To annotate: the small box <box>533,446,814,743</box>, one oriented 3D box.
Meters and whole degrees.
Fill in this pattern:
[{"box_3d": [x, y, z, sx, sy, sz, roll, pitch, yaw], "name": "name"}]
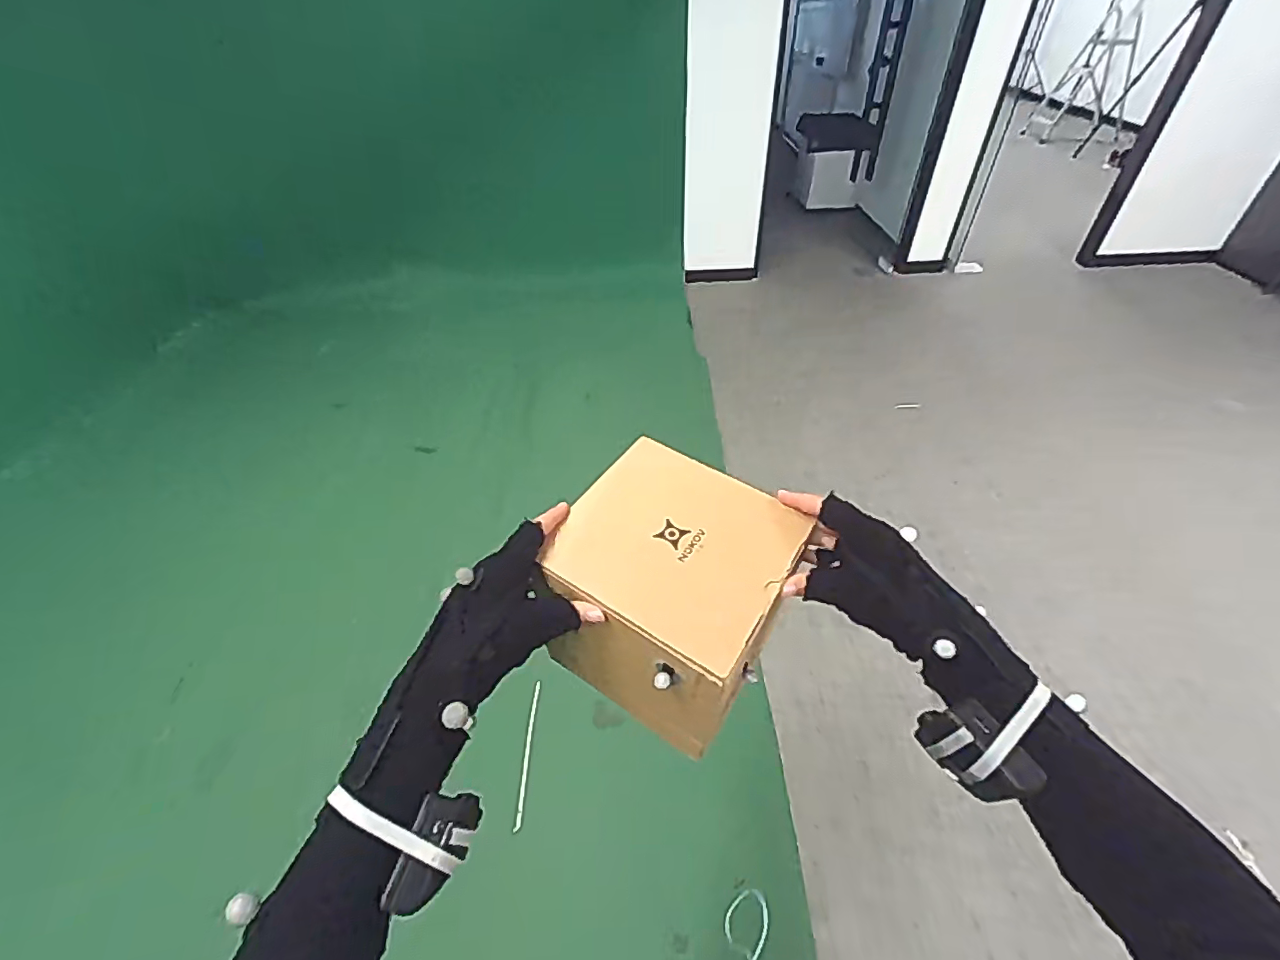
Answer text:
[{"box_3d": [0.027, 0.105, 0.496, 0.179, 0.176, 0.168, 27, 52, 22], "name": "small box"}]
